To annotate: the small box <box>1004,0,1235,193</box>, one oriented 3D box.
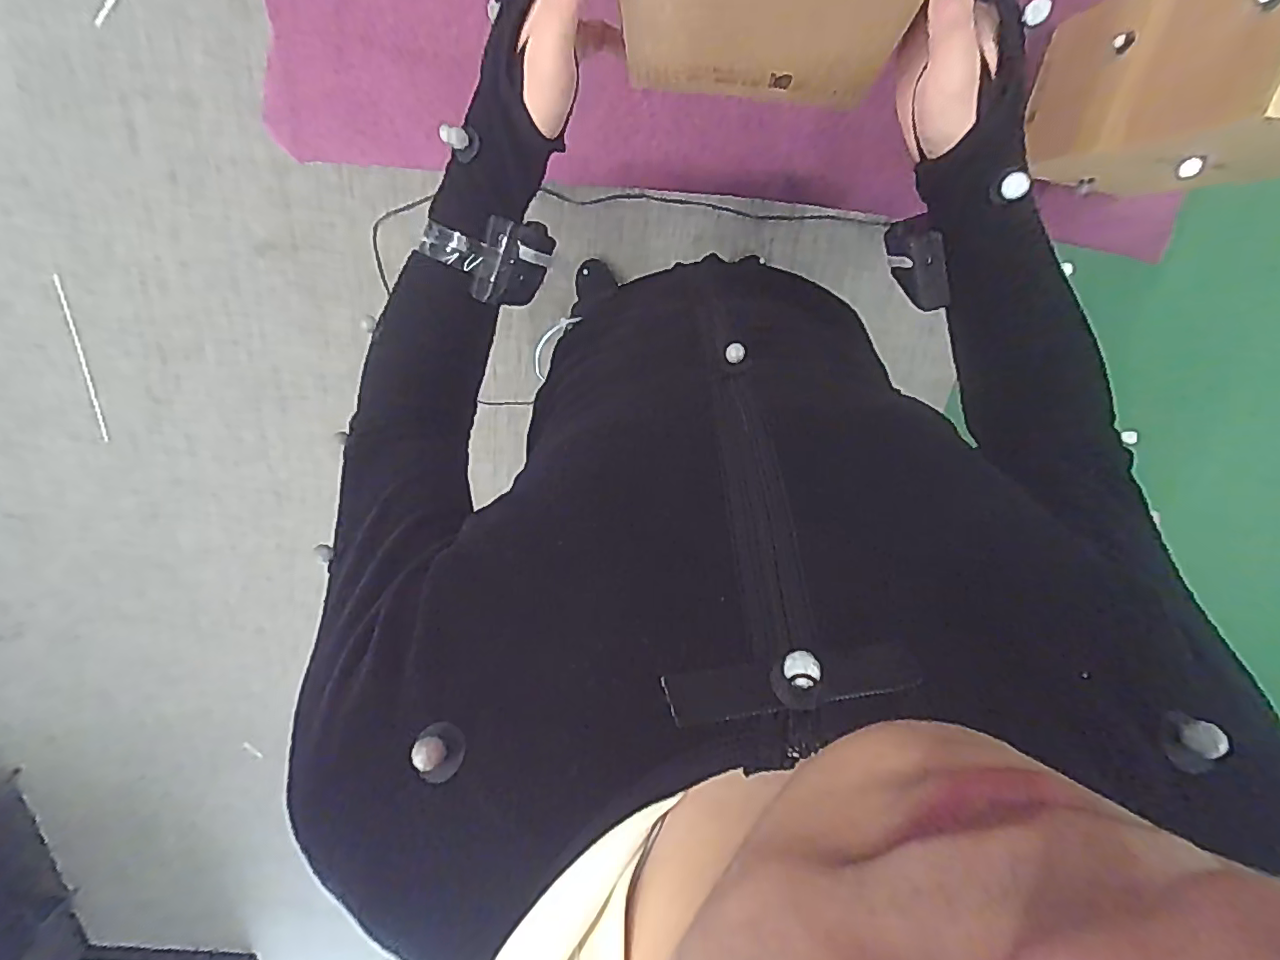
[{"bbox_3d":[0.582,-0.444,0.628,0.179,0.176,0.168,9,111,-3],"label":"small box"}]
